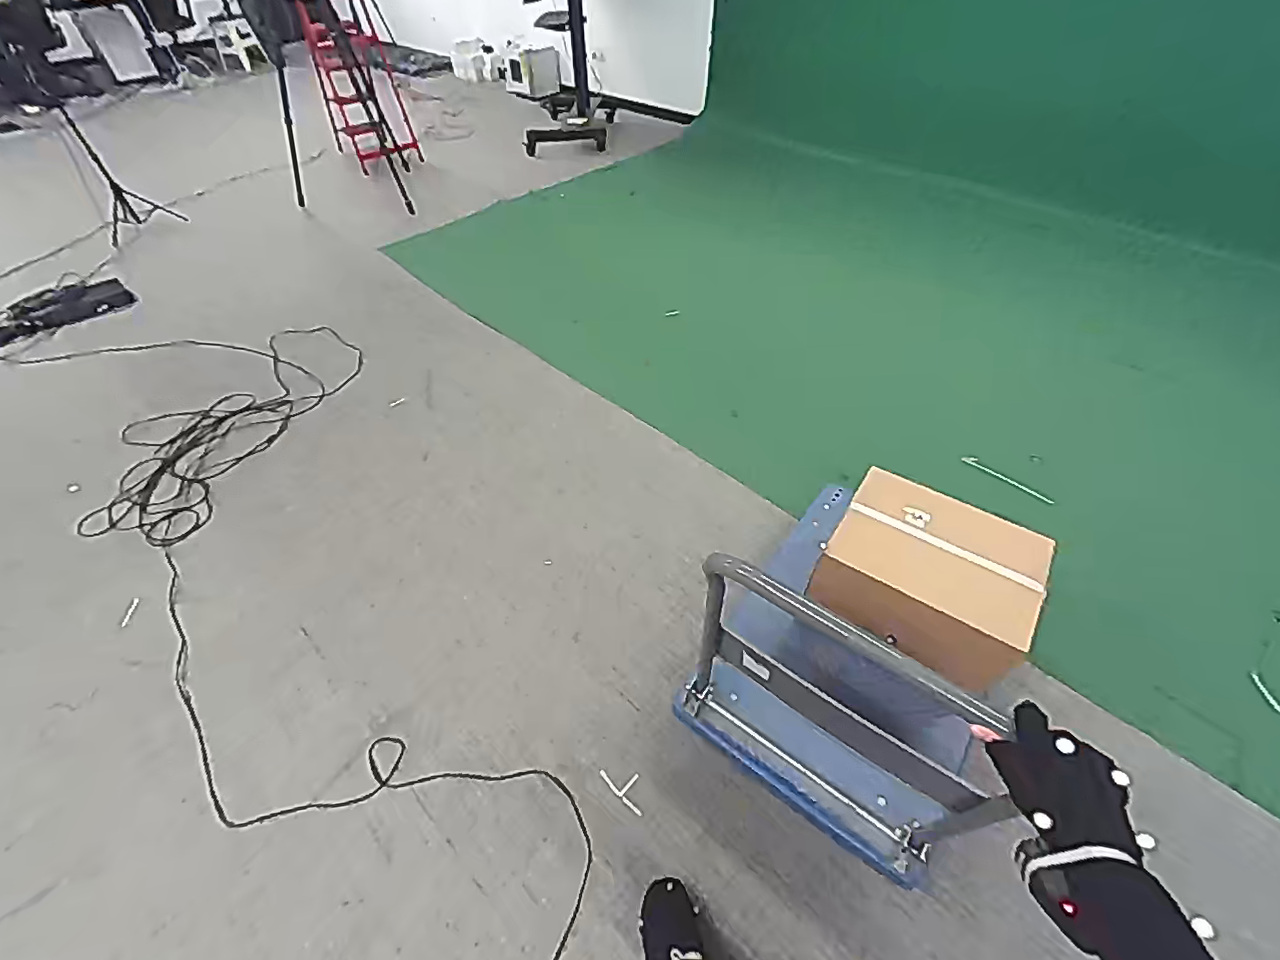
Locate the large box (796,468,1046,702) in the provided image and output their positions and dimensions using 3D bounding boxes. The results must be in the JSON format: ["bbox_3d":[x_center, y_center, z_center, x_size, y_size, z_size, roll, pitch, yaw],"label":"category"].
[{"bbox_3d":[0.638,0.242,1.276,0.408,0.320,0.320,27,54,25],"label":"large box"}]
